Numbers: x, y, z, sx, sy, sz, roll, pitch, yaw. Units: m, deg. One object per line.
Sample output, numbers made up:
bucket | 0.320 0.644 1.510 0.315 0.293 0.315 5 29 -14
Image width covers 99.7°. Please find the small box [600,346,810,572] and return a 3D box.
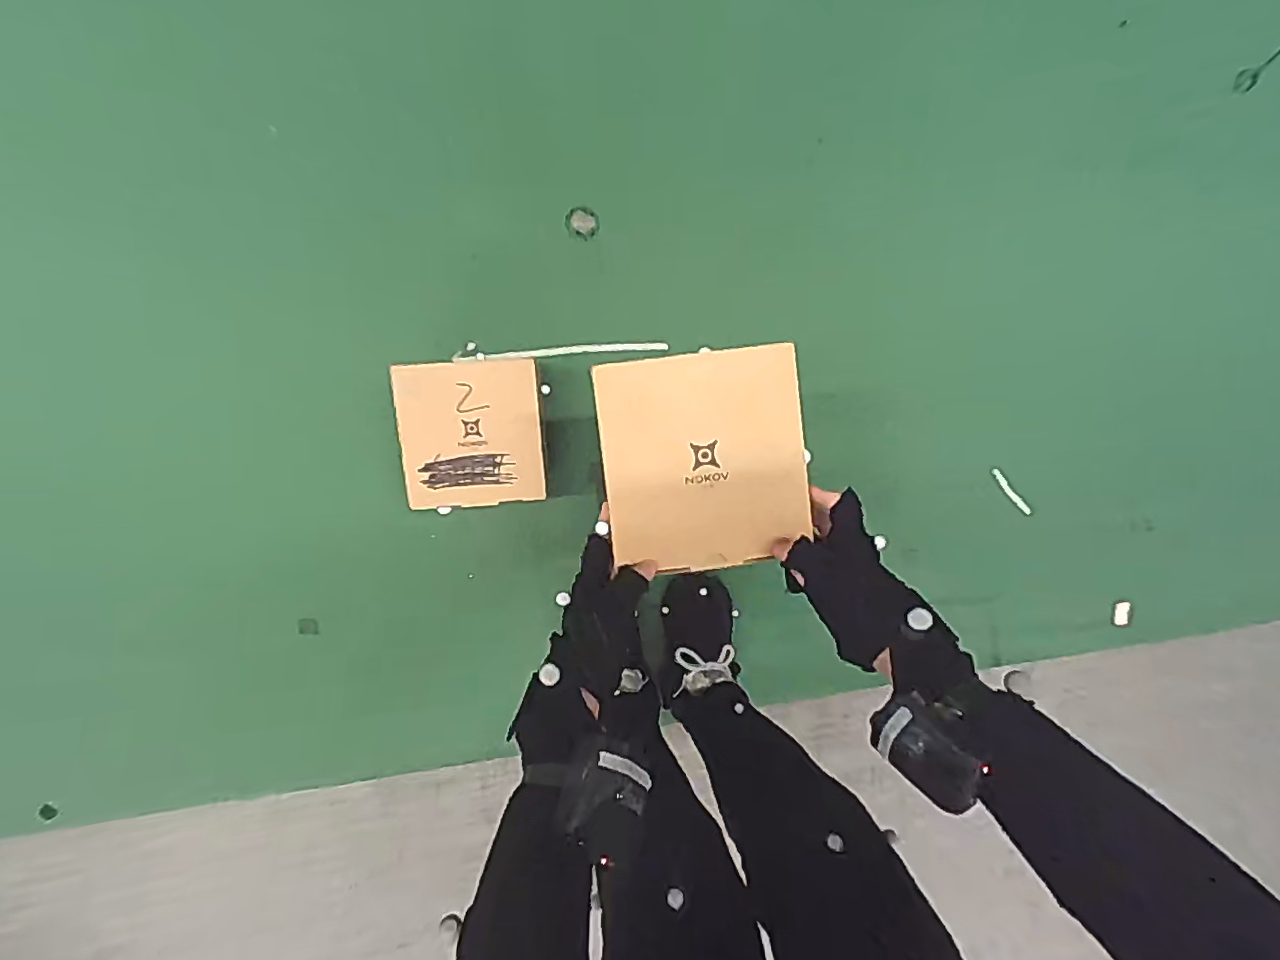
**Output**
small box | 0.050 -0.020 0.526 0.168 0.176 0.179 -6 93 -2
